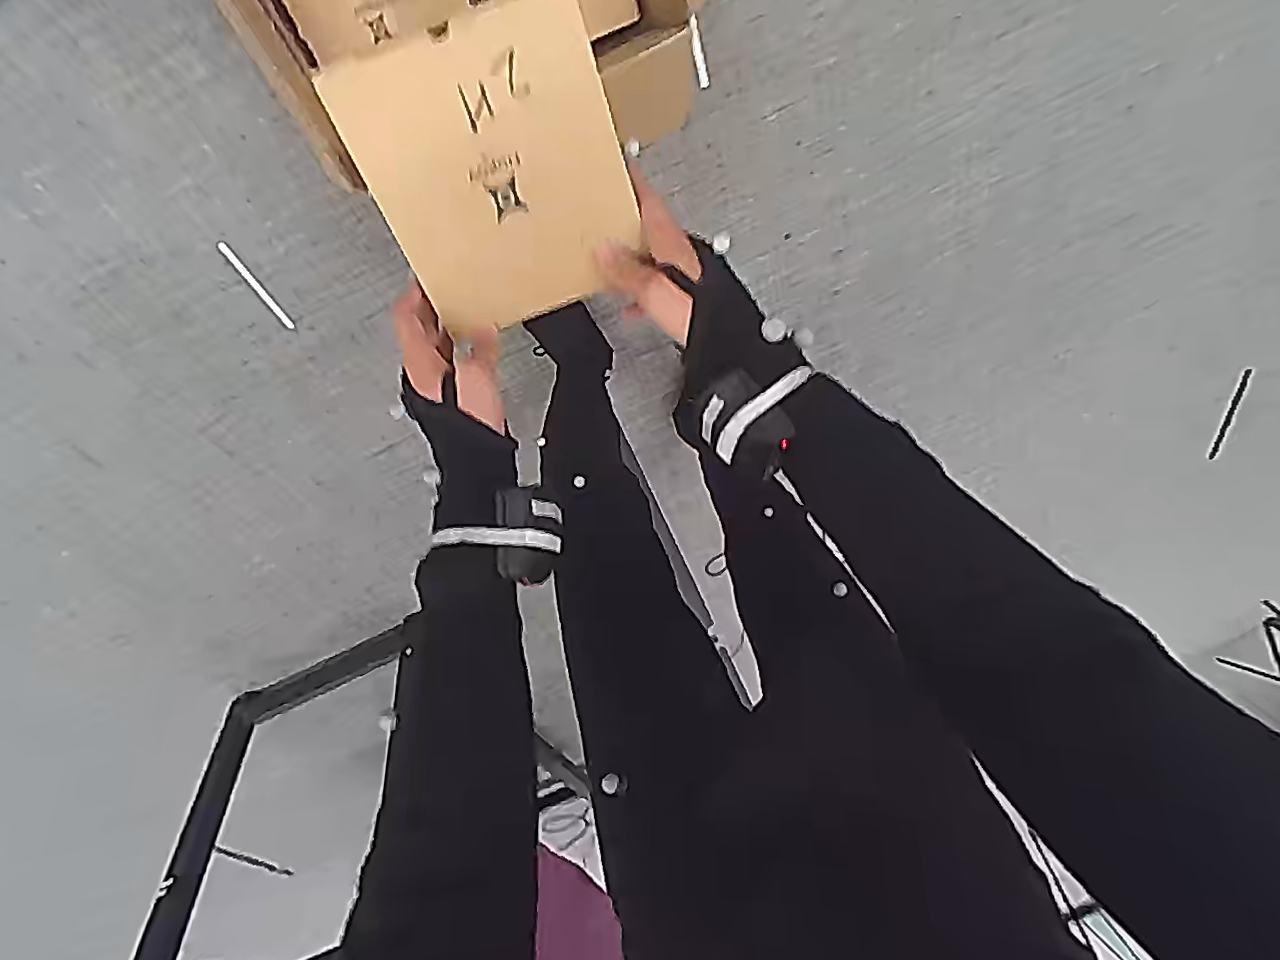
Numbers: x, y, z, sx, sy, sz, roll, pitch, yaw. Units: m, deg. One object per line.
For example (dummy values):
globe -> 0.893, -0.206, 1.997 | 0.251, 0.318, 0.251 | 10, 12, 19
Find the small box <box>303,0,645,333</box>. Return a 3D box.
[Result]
small box -> -0.105, -0.244, 0.421 | 0.168, 0.176, 0.179 | -19, 123, 3
